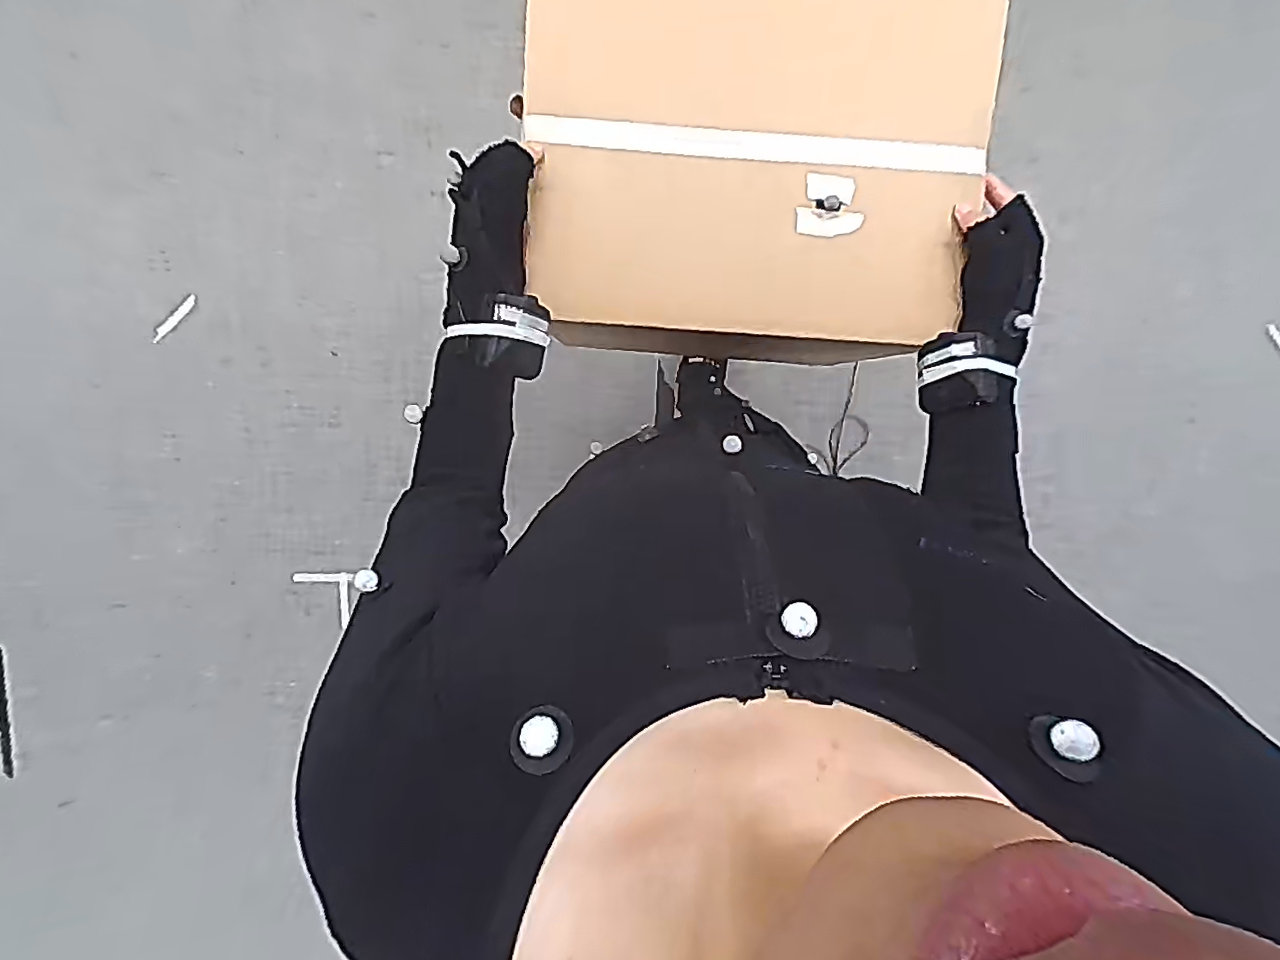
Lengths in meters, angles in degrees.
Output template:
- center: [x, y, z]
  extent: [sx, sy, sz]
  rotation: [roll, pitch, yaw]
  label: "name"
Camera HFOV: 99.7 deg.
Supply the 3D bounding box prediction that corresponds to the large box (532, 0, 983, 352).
- center: [0.095, -0.328, 0.638]
  extent: [0.408, 0.320, 0.320]
  rotation: [3, 100, -3]
  label: "large box"
